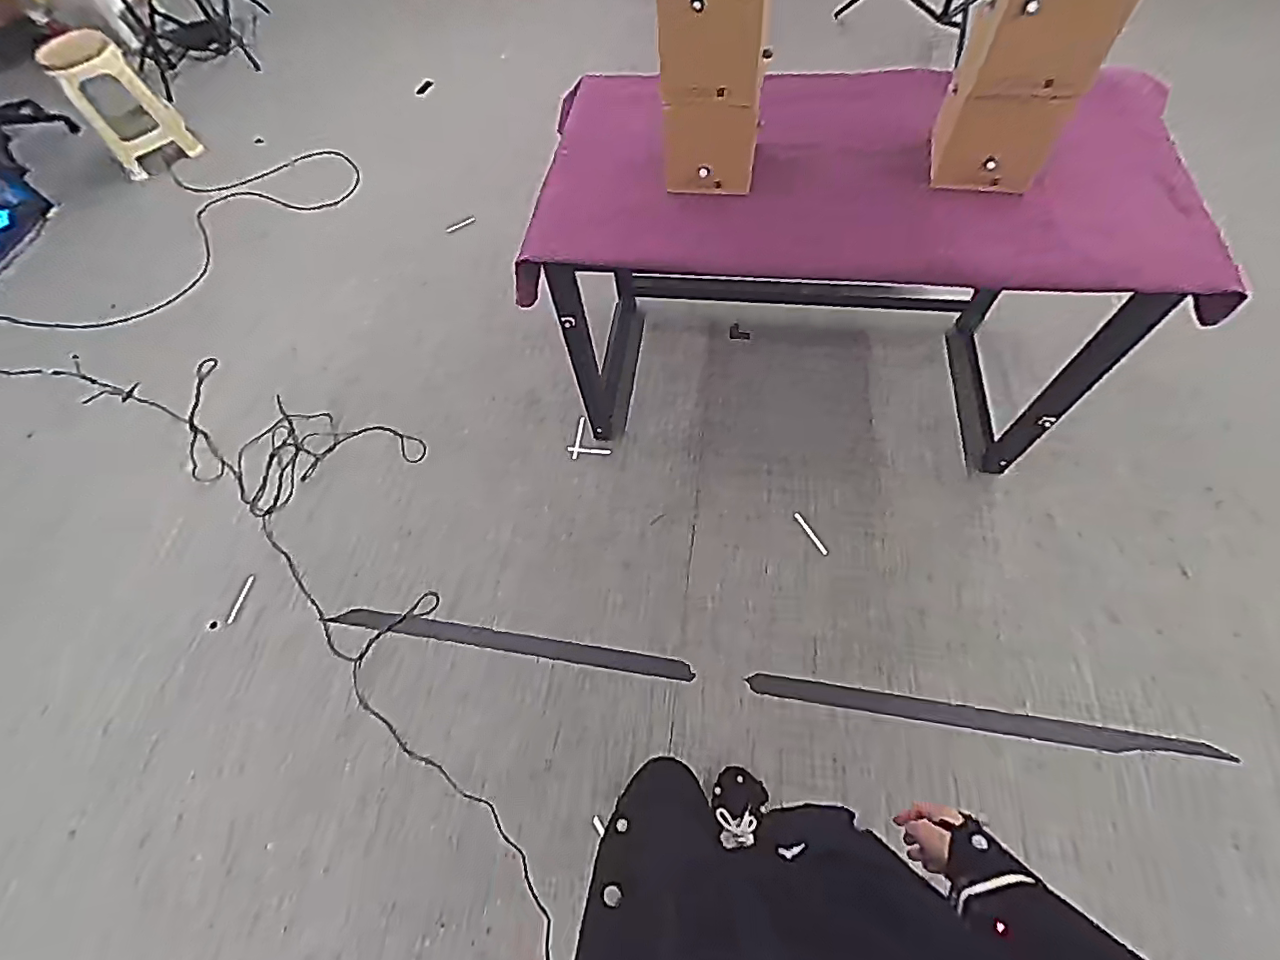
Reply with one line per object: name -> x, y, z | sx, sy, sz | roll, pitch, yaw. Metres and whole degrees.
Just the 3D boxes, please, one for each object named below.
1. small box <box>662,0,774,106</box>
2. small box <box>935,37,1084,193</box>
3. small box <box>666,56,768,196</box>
small box -> 0.130, -0.756, 0.892 | 0.168, 0.176, 0.179 | 8, 63, 10
small box -> 0.649, -0.652, 0.971 | 0.168, 0.176, 0.179 | 11, 64, 12
small box -> 0.146, -0.681, 1.037 | 0.168, 0.176, 0.179 | 7, 65, 9
